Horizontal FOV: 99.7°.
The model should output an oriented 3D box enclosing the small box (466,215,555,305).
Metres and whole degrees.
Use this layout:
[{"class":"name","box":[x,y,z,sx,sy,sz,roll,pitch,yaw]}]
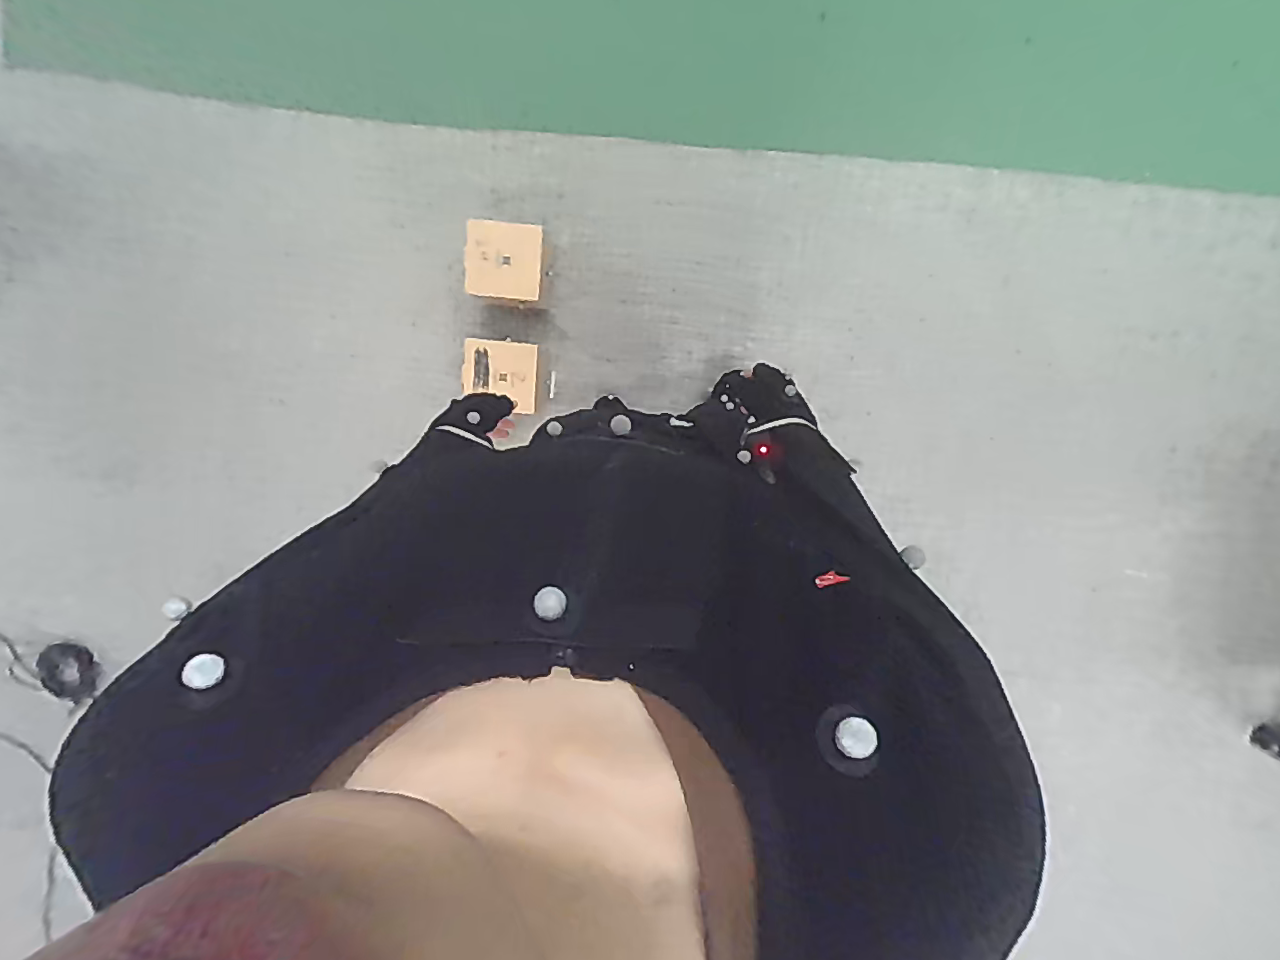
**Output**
[{"class":"small box","box":[-0.306,-0.521,1.303,0.179,0.176,0.168,5,100,0]}]
